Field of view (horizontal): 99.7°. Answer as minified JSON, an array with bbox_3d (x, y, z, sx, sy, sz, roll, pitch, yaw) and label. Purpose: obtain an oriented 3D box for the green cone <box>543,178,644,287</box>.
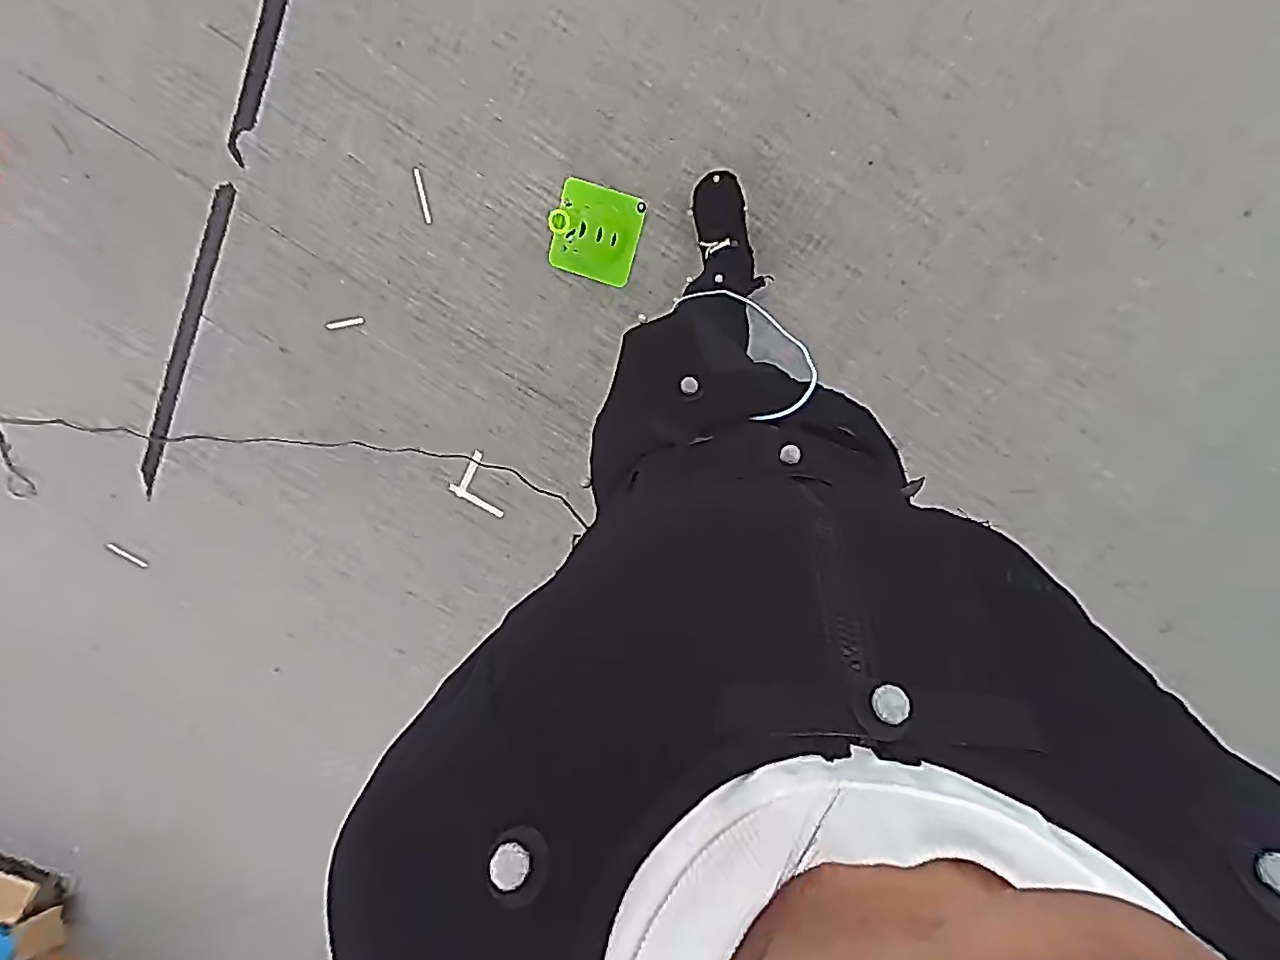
[{"bbox_3d":[-0.130,-0.515,1.113,0.200,0.368,0.202,18,113,1],"label":"green cone"}]
